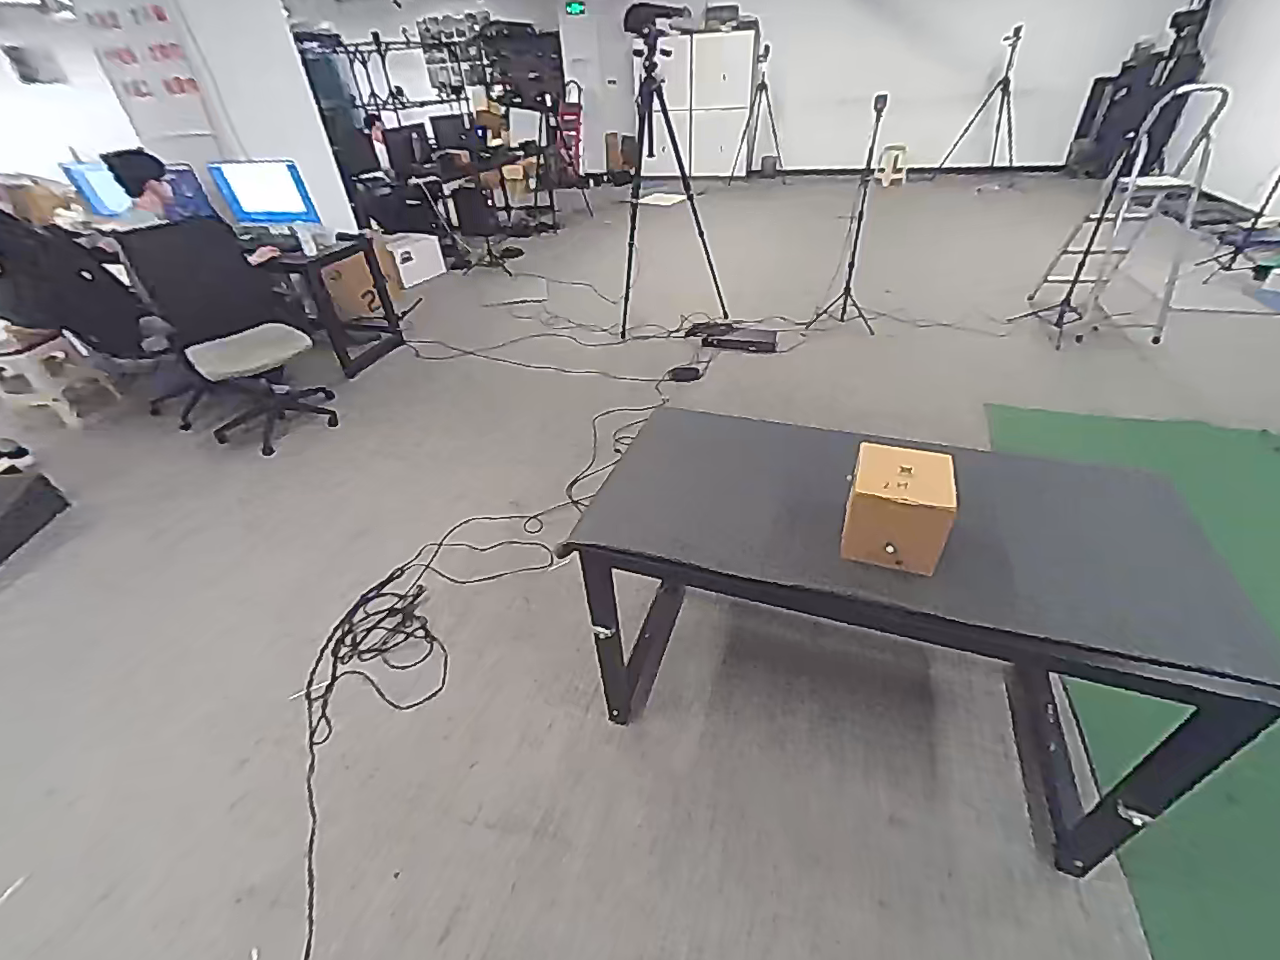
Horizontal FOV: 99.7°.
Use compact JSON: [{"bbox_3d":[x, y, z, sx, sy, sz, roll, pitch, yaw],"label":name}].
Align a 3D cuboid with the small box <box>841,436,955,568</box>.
[{"bbox_3d":[0.495,0.040,1.052,0.168,0.176,0.179,10,39,19],"label":"small box"}]
